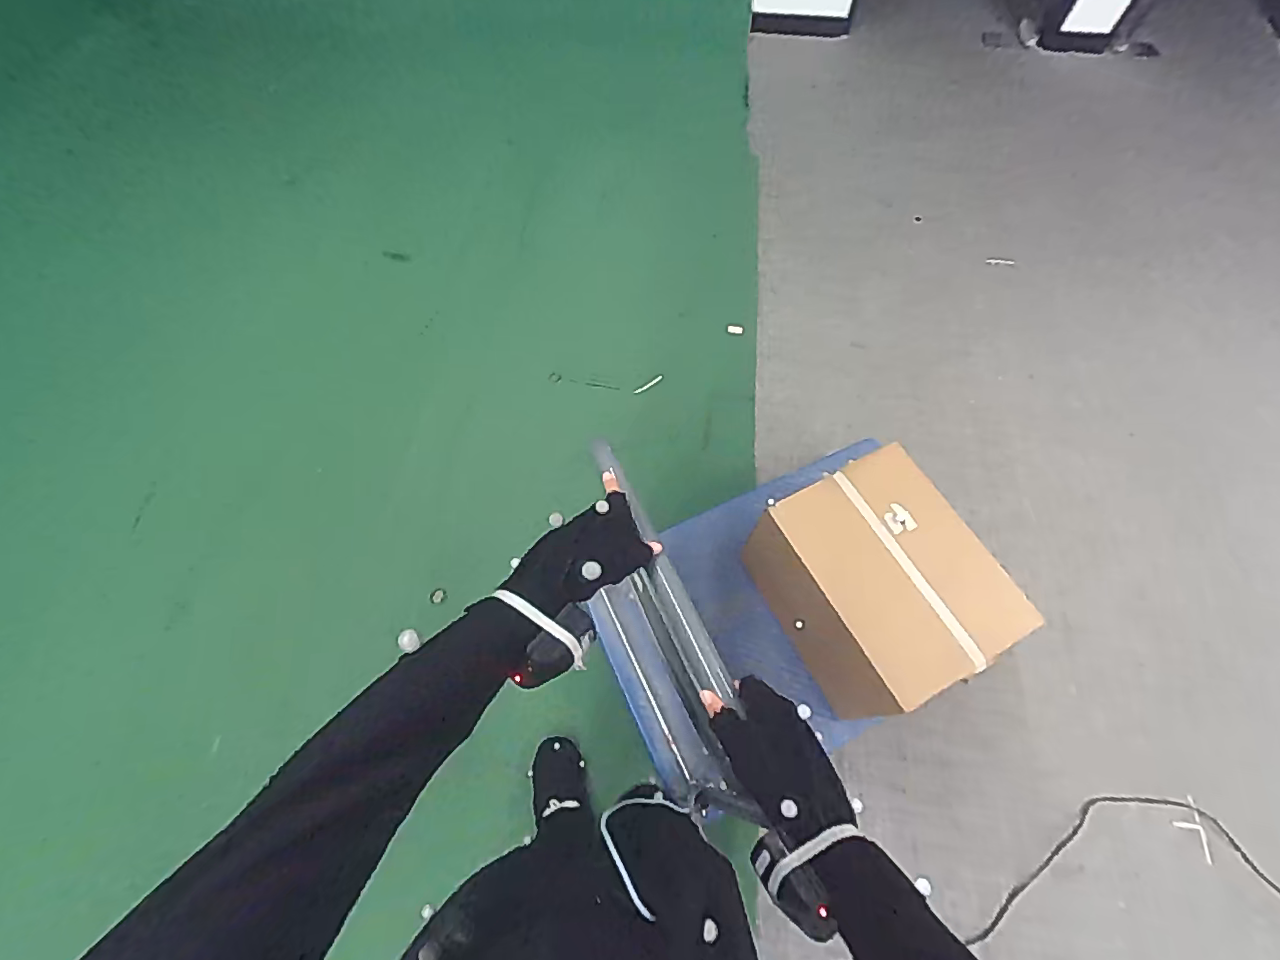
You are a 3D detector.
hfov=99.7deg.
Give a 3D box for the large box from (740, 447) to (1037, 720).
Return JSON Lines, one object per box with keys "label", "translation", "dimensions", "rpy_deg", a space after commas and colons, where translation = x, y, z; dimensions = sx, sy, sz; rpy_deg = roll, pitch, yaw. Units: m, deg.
{"label": "large box", "translation": [0.456, 0.218, 1.100], "dimensions": [0.320, 0.320, 0.408], "rpy_deg": [-25, 66, -12]}
